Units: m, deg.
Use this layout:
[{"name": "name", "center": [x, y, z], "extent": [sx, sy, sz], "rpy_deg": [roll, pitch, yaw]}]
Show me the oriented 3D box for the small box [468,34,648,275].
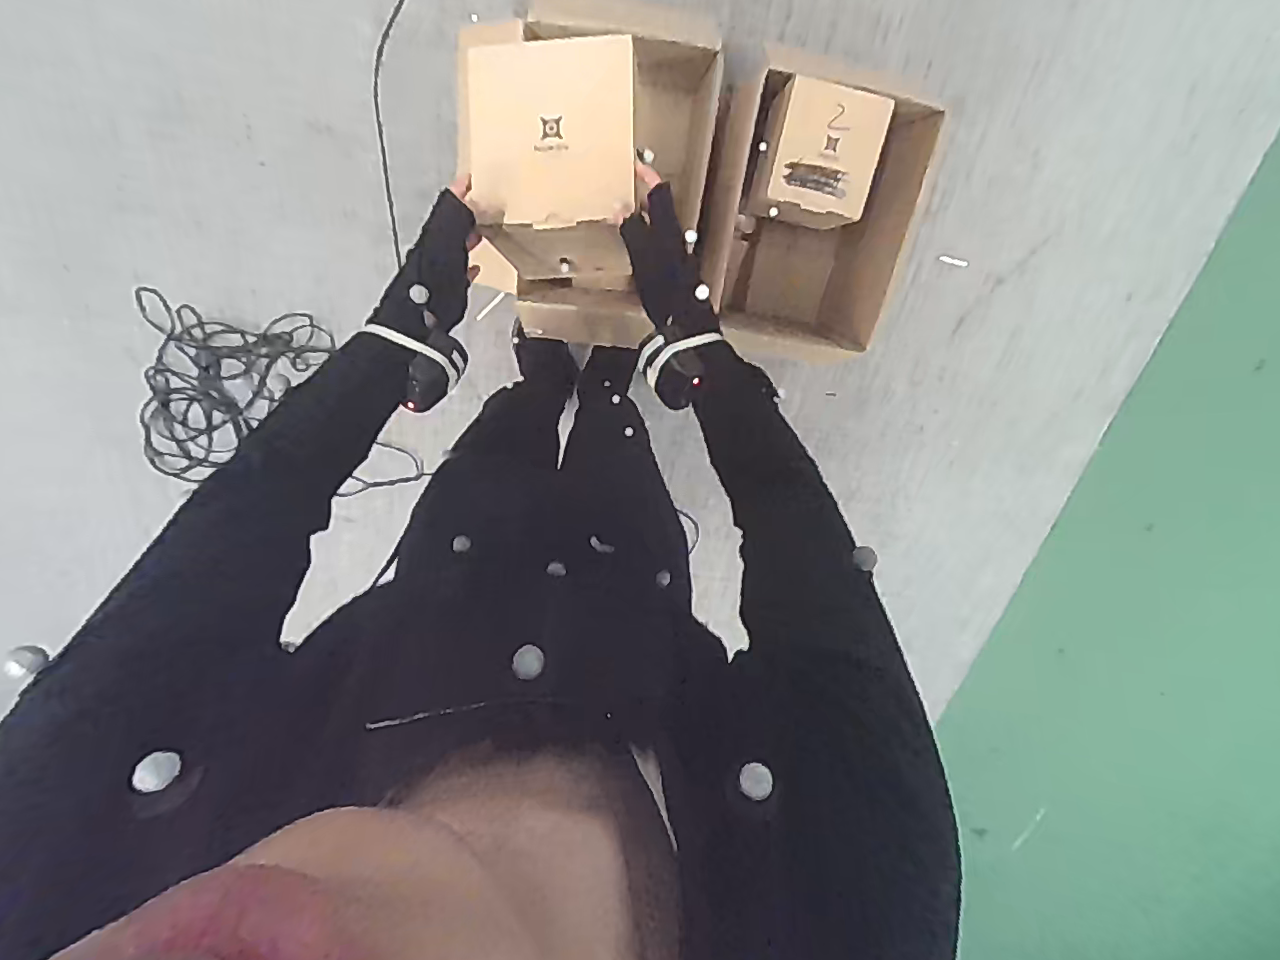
[{"name": "small box", "center": [-0.081, -0.346, 0.607], "extent": [0.168, 0.176, 0.179], "rpy_deg": [-1, 95, 5]}]
